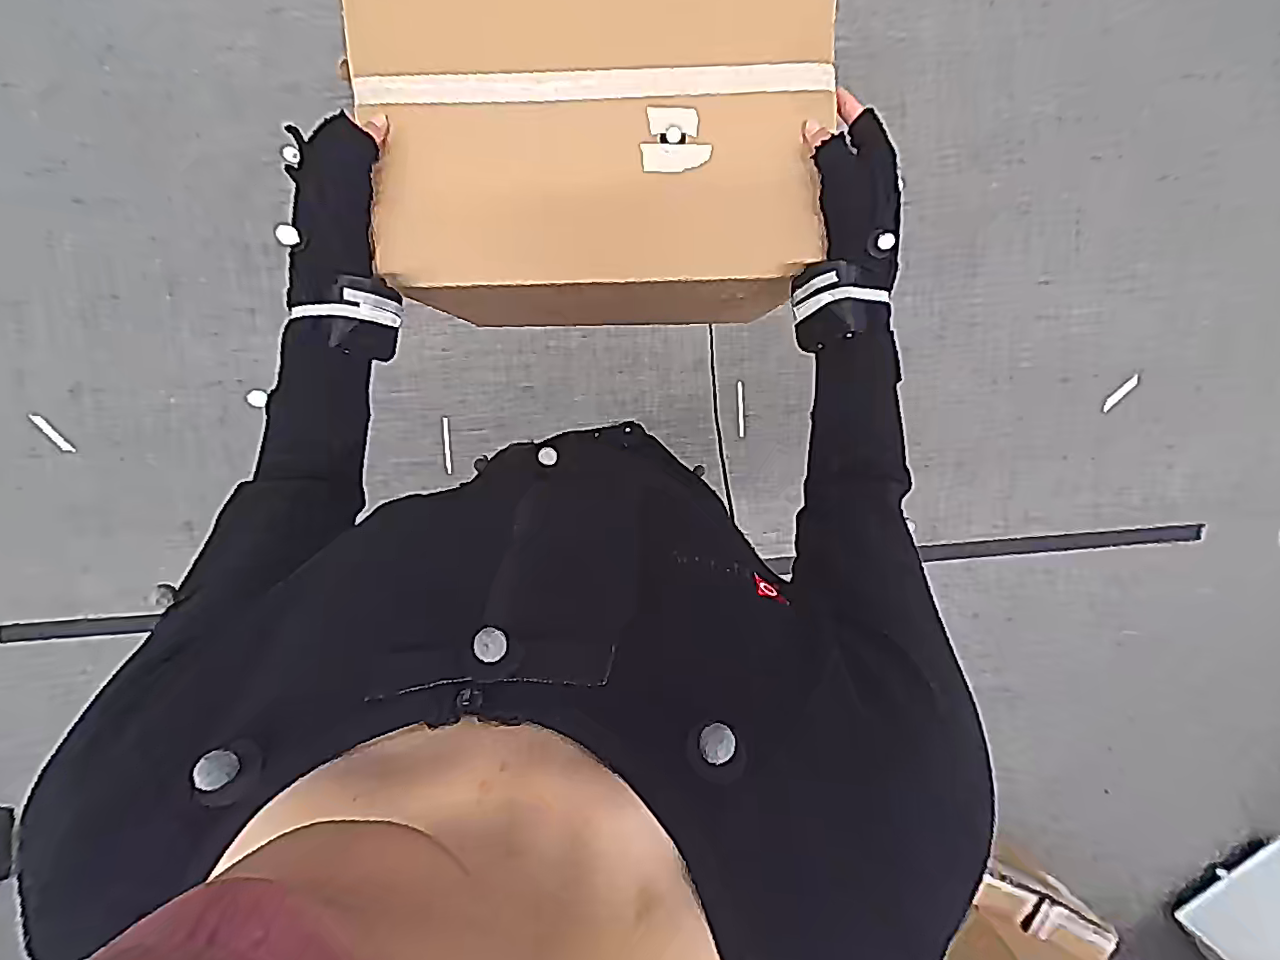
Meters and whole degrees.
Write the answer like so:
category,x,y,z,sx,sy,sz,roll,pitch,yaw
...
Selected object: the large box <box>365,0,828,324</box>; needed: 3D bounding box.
category,x,y,z,sx,sy,sz,roll,pitch,yaw
large box,-0.037,-0.364,0.622,0.408,0.320,0.320,-2,100,0
